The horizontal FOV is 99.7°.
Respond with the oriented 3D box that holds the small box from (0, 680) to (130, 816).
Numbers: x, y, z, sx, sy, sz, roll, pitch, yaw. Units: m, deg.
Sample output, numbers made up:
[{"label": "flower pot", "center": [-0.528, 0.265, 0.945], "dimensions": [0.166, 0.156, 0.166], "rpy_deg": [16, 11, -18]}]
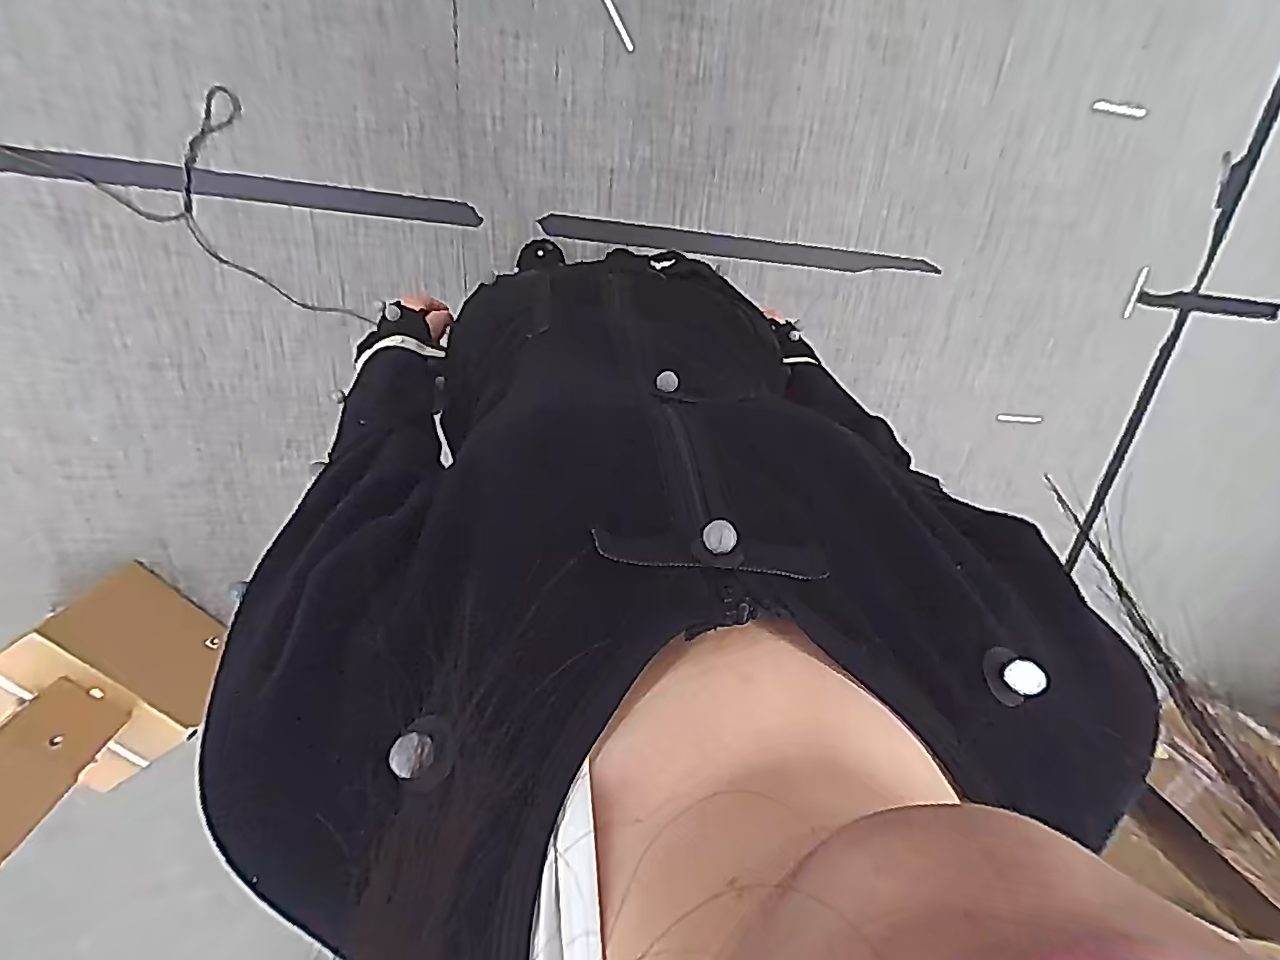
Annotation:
[{"label": "small box", "center": [-1.298, 0.578, 1.183], "dimensions": [0.168, 0.176, 0.179], "rpy_deg": [-36, 112, 6]}]
